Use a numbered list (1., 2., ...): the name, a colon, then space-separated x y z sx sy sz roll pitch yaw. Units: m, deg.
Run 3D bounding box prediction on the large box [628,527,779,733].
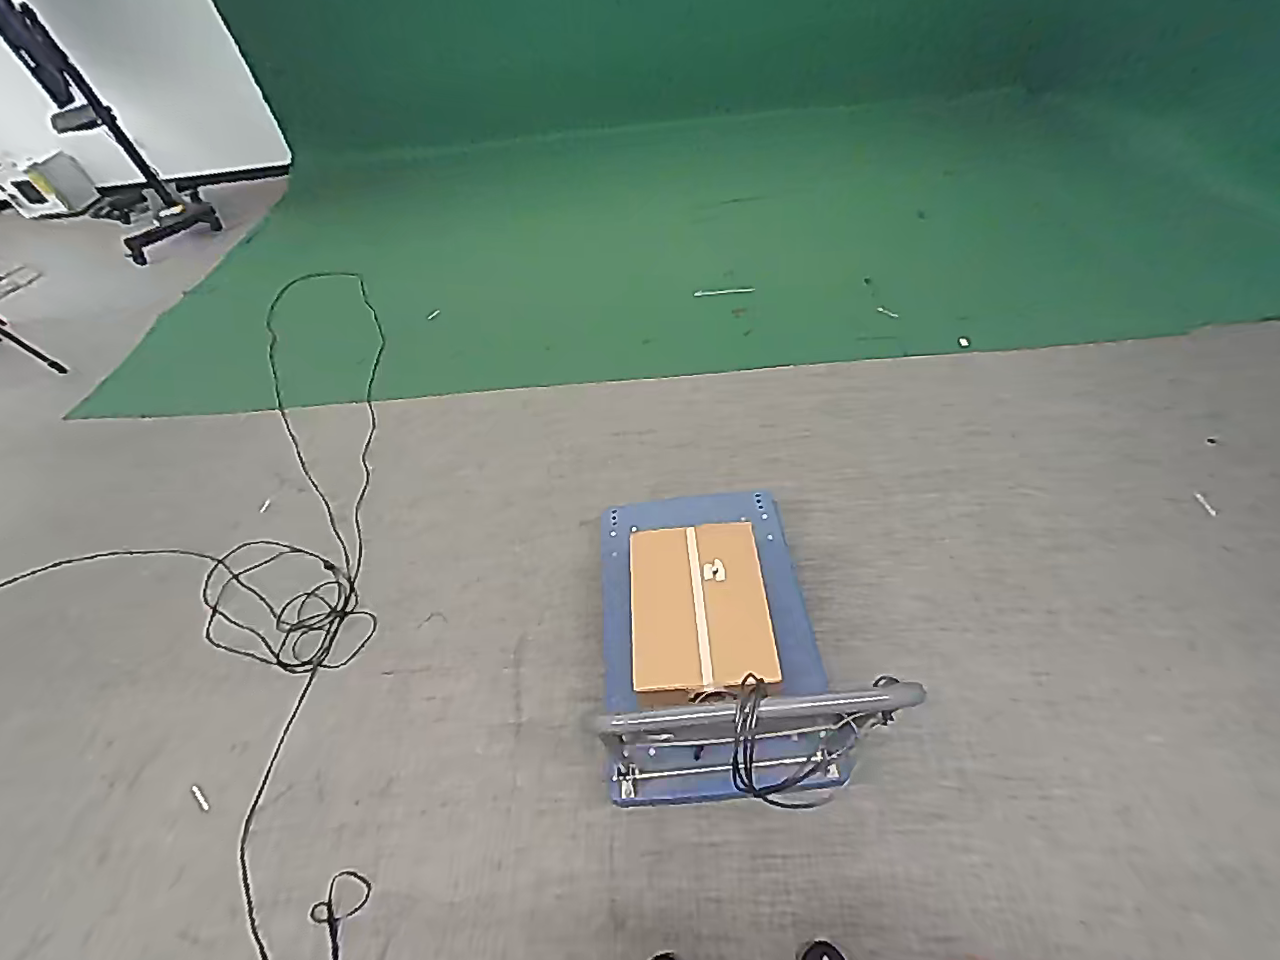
1. large box: 0.147 0.380 1.369 0.320 0.320 0.408 -5 49 3
